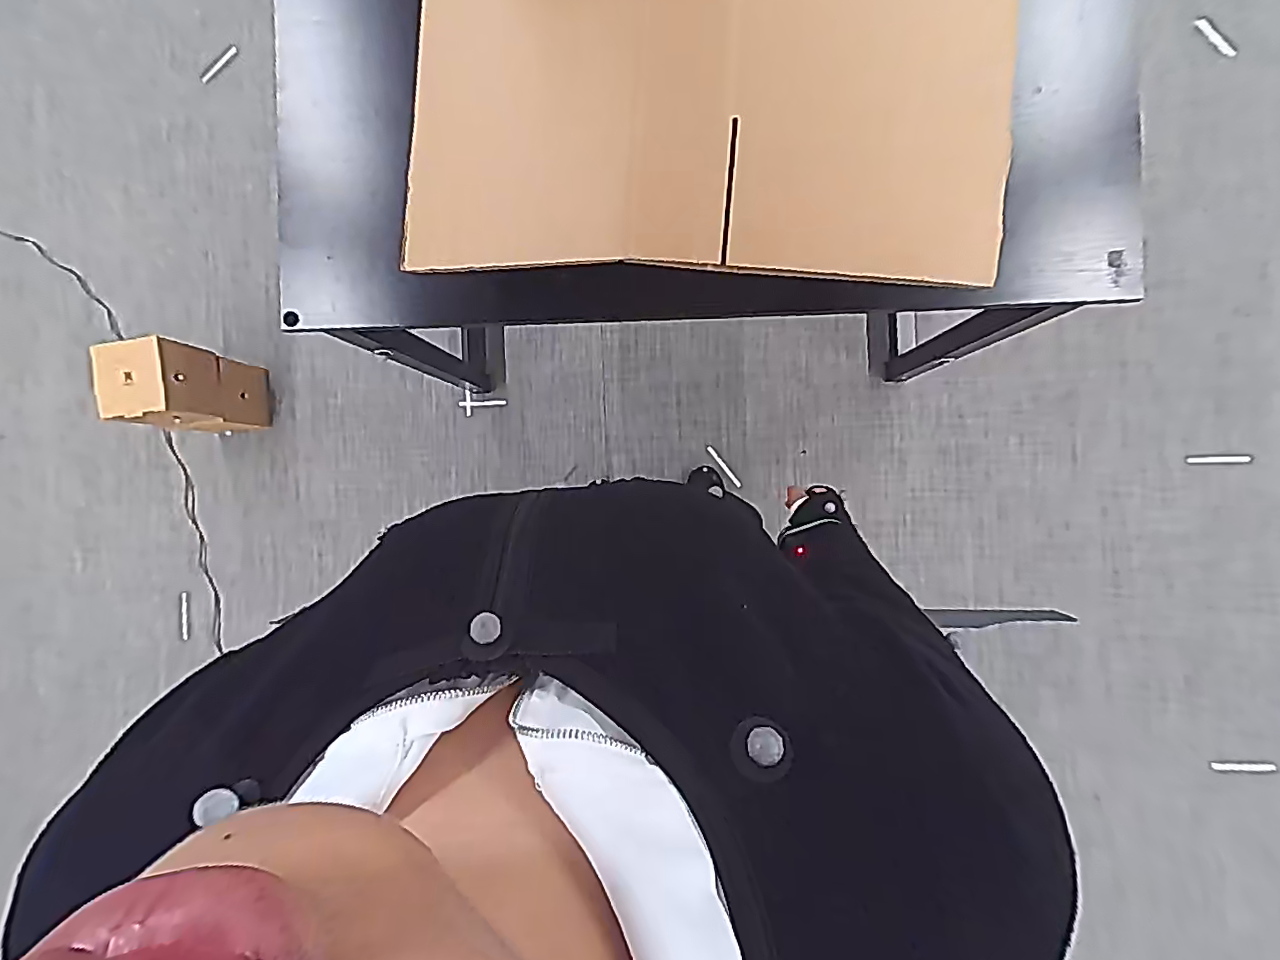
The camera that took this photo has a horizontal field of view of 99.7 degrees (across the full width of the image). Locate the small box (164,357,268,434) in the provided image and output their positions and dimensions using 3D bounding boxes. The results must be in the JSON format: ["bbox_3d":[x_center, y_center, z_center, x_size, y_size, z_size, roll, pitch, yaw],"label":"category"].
[{"bbox_3d":[-1.161,-0.227,1.484,0.168,0.176,0.179,-5,90,4],"label":"small box"}]

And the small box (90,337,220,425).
[{"bbox_3d":[-1.173,-0.232,1.321,0.168,0.176,0.179,-8,89,3],"label":"small box"}]
